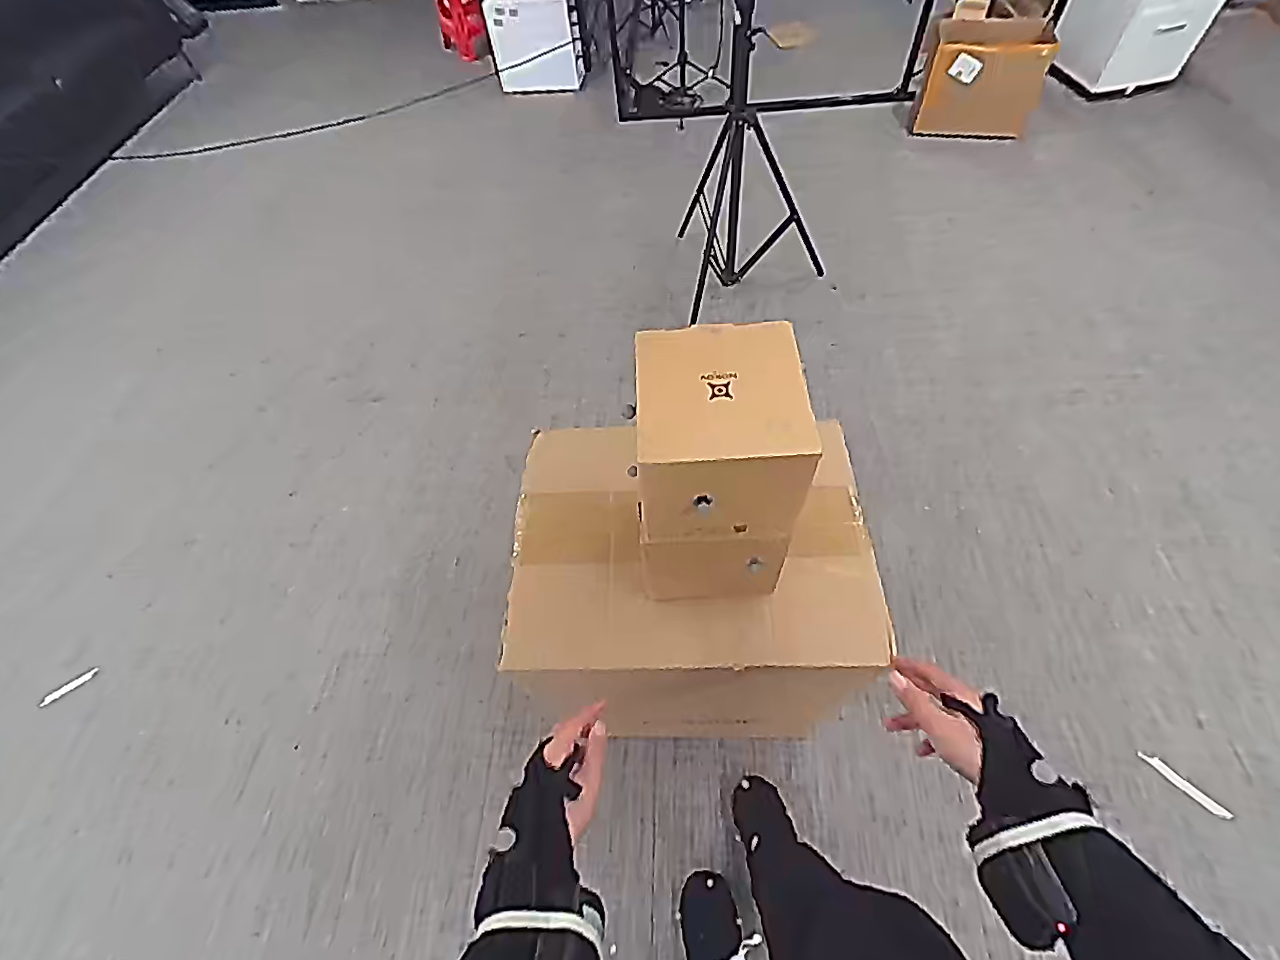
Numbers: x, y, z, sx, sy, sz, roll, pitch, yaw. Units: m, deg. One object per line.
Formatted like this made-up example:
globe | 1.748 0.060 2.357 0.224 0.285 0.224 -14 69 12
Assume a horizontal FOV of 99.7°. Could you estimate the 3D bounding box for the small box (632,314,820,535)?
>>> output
small box | 0.081 -0.050 0.580 0.168 0.176 0.179 -3 56 3
